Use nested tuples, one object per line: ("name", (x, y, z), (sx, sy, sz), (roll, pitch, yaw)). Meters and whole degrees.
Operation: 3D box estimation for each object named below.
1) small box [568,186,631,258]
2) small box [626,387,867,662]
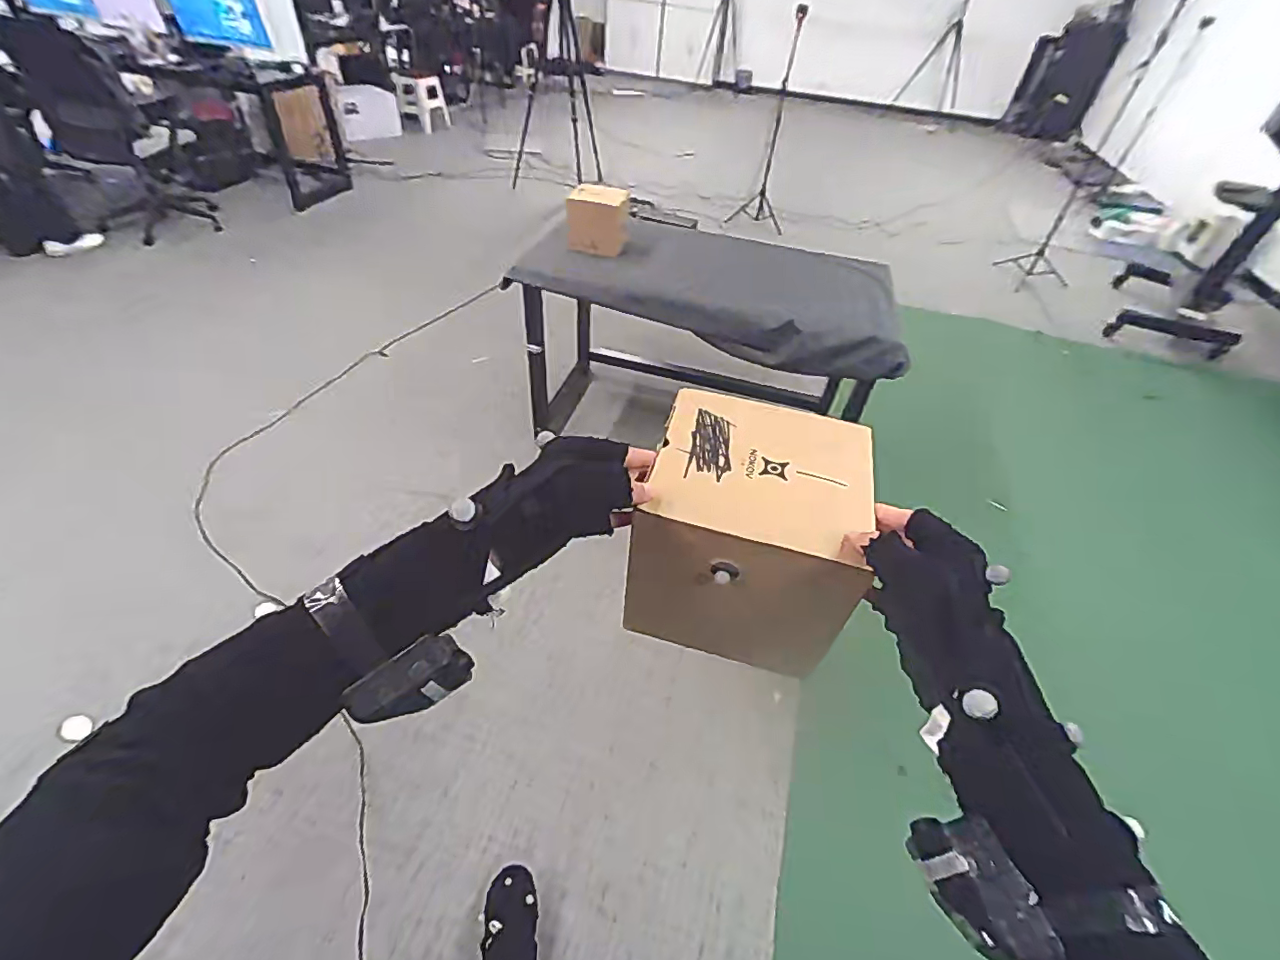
("small box", (-0.138, -0.880, 1.849), (0.179, 0.176, 0.168), (13, 44, 5))
("small box", (0.091, 0.042, 0.499), (0.179, 0.176, 0.168), (14, 46, 8))
